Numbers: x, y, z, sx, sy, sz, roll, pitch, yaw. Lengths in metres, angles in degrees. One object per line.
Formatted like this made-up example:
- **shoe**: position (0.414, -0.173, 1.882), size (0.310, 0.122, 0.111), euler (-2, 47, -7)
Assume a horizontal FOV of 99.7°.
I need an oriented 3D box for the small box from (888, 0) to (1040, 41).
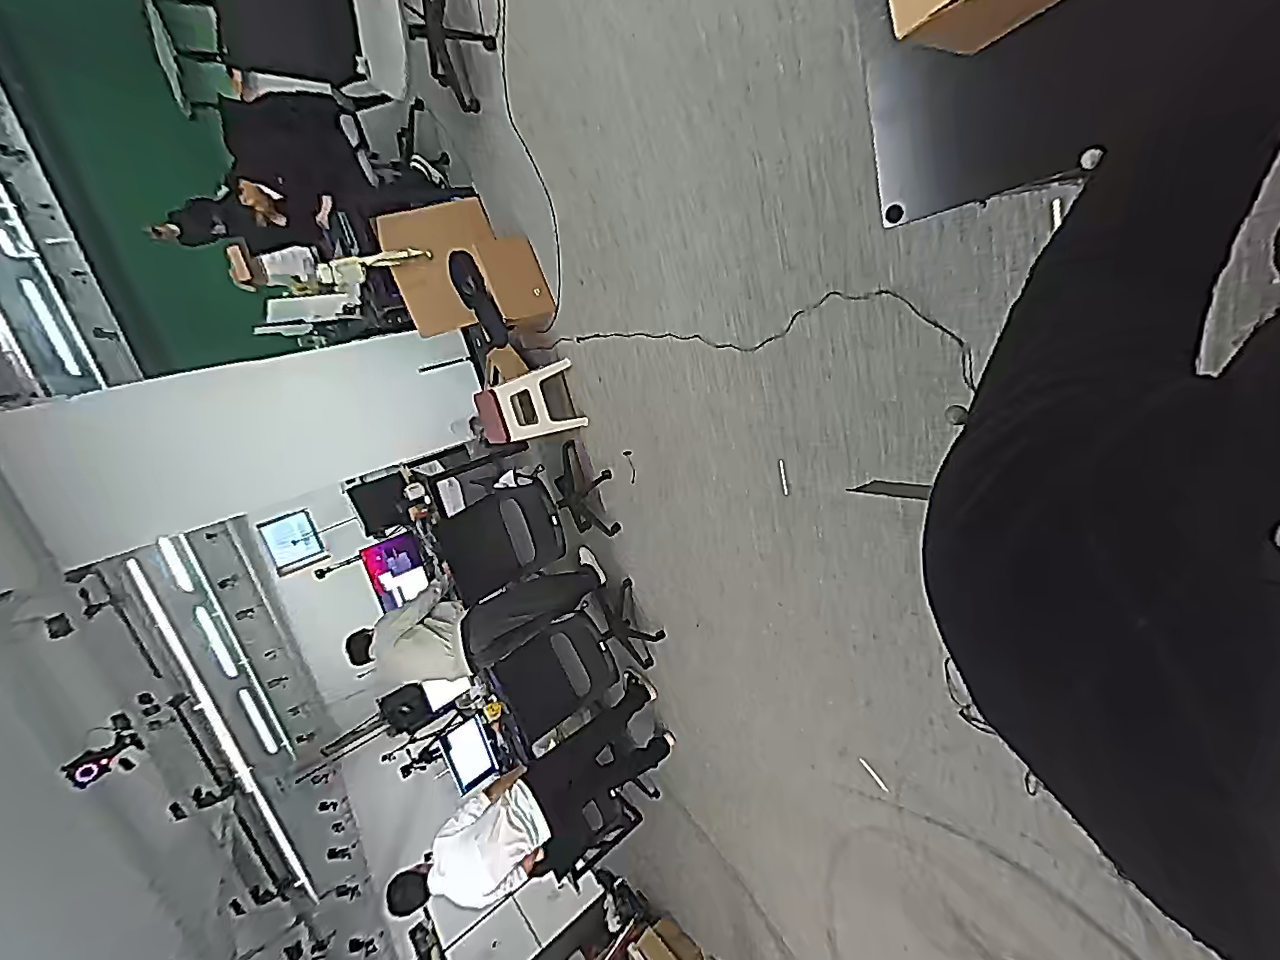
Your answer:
- **small box**: position (0.330, -0.535, 0.483), size (0.168, 0.176, 0.179), euler (-2, 108, 55)
